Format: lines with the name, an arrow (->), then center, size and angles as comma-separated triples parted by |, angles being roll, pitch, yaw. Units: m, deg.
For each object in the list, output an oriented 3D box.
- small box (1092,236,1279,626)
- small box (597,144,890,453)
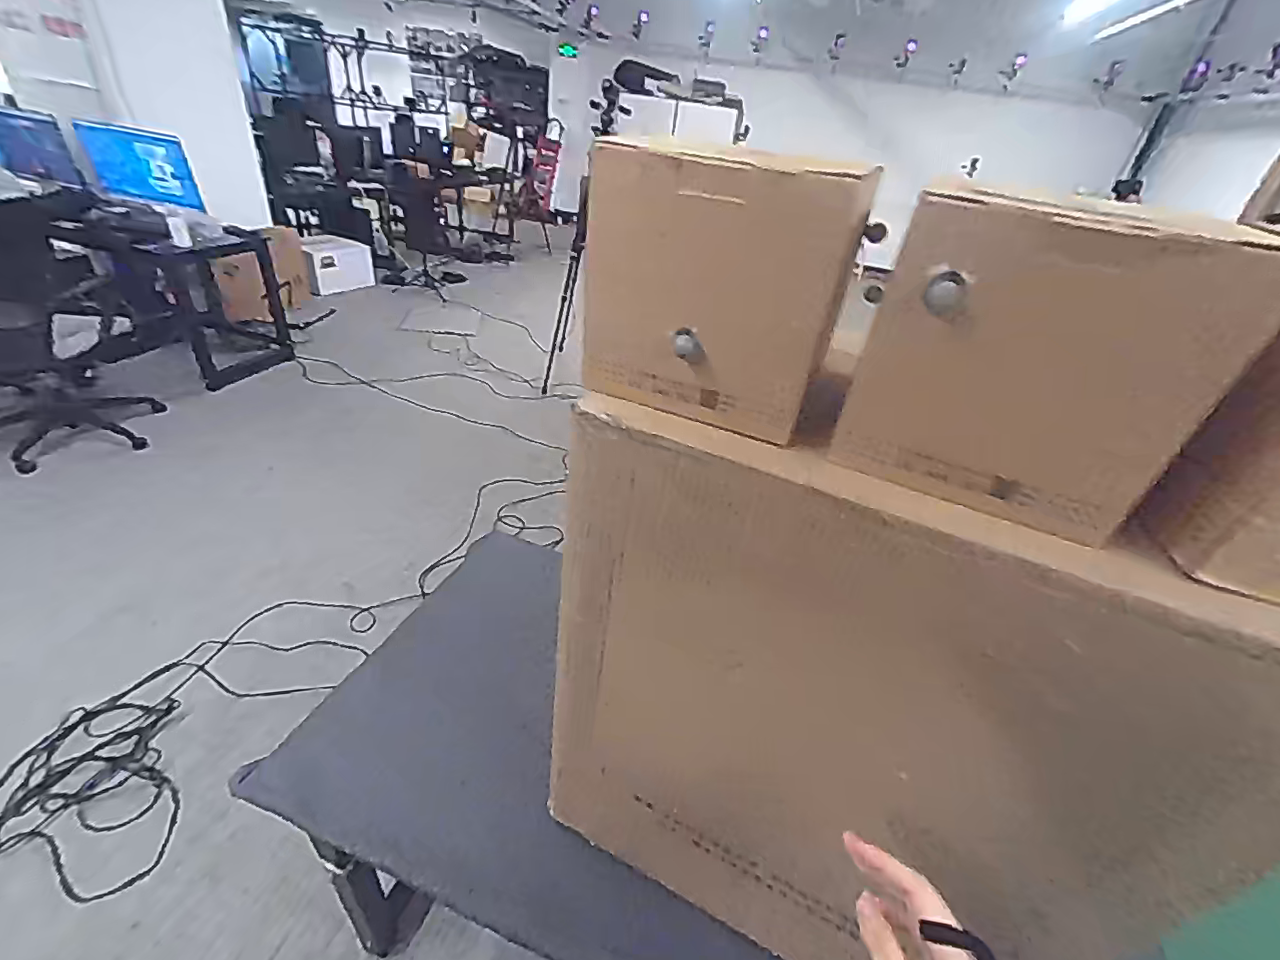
small box -> 0.420, -0.018, 0.311 | 0.168, 0.176, 0.179 | 17, 37, 7
small box -> 0.074, -0.146, 0.414 | 0.168, 0.176, 0.179 | 18, 36, 17
